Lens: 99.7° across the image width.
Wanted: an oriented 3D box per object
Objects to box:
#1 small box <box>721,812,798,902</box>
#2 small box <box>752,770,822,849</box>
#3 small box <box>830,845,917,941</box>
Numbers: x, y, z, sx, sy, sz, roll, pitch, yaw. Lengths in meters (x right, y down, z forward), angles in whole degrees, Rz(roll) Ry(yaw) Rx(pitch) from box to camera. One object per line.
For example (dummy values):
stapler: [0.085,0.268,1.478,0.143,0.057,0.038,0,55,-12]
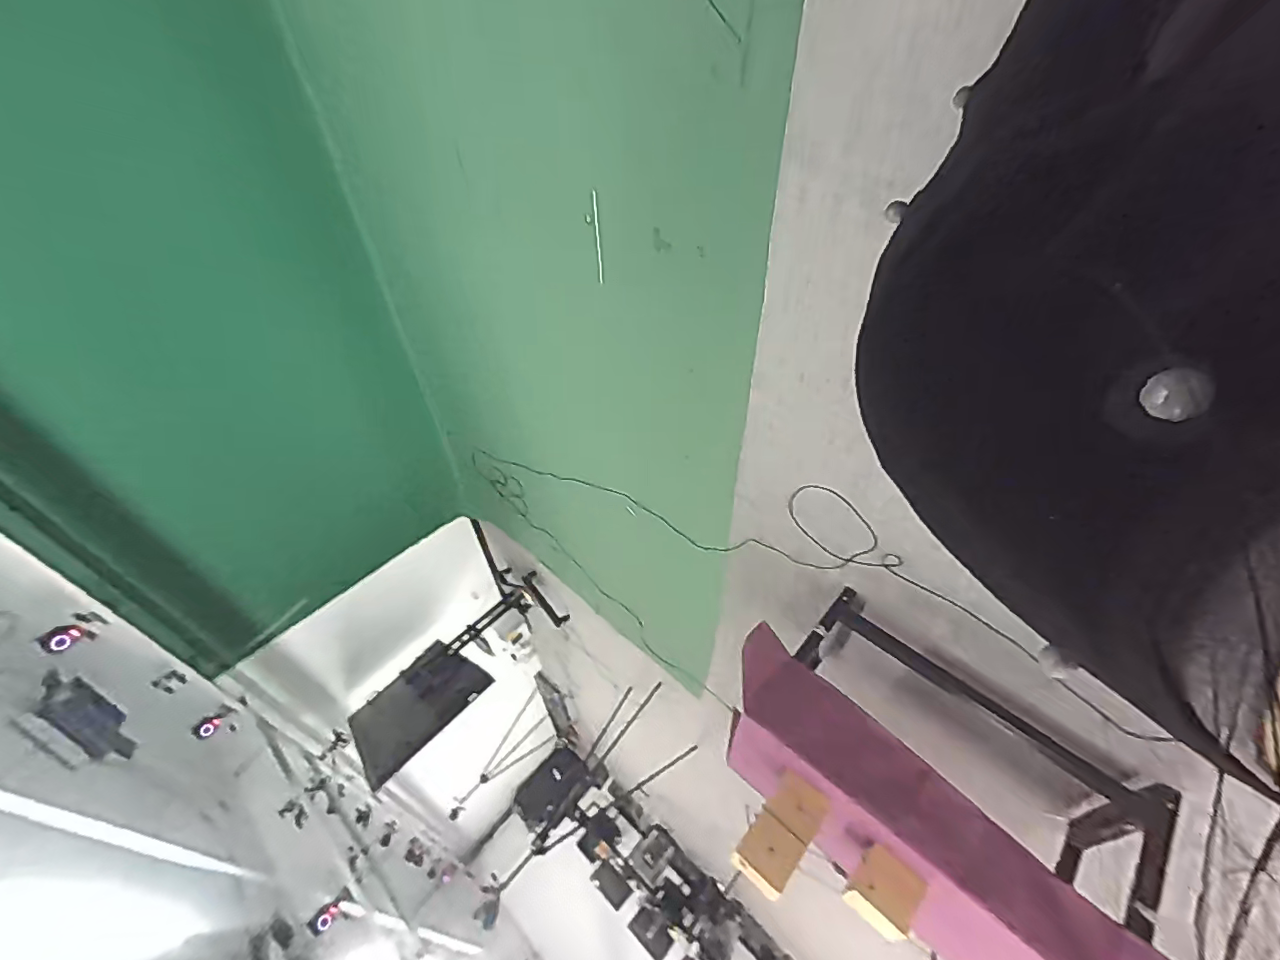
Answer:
small box: [0.394,1.238,1.791,0.179,0.176,0.168,32,145,30]
small box: [0.506,1.153,1.876,0.179,0.176,0.168,31,144,30]
small box: [0.746,1.316,1.726,0.179,0.176,0.168,35,146,28]
